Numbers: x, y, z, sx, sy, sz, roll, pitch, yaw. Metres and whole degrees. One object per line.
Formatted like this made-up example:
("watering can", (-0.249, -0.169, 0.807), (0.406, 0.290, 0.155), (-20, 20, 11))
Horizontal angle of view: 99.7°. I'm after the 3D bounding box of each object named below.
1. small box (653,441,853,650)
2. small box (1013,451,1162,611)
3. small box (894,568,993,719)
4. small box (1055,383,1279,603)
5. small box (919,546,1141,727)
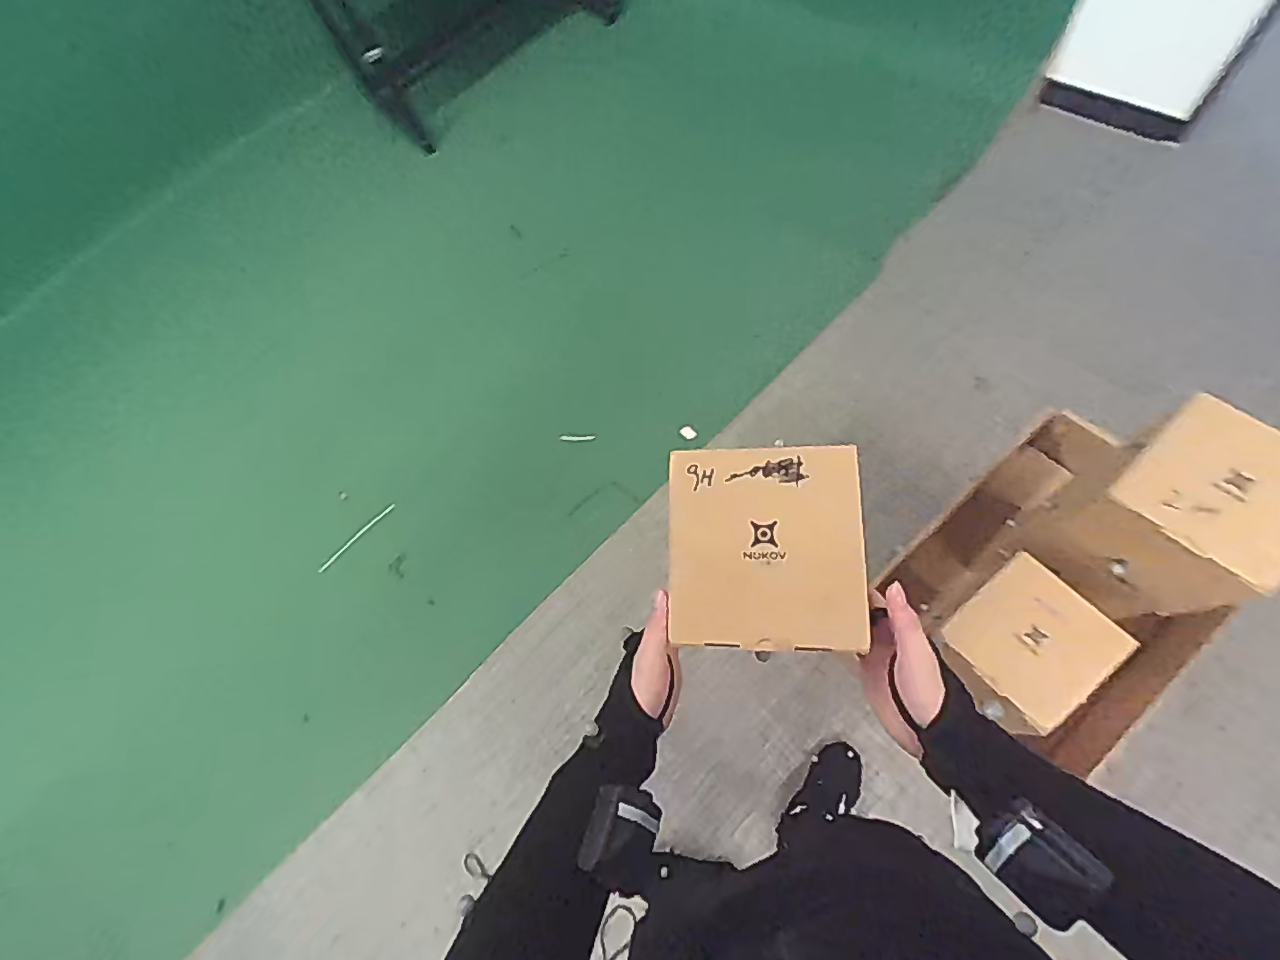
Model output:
("small box", (0.108, 0.070, 0.540), (0.168, 0.176, 0.179), (-3, 77, 11))
("small box", (0.708, 0.072, 0.805), (0.179, 0.176, 0.168), (-43, 66, -4))
("small box", (0.564, 0.284, 0.925), (0.179, 0.176, 0.168), (-41, 66, -7))
("small box", (0.660, 0.025, 0.653), (0.179, 0.176, 0.168), (-45, 66, -4))
("small box", (0.532, 0.228, 0.775), (0.179, 0.176, 0.168), (-39, 66, -6))
